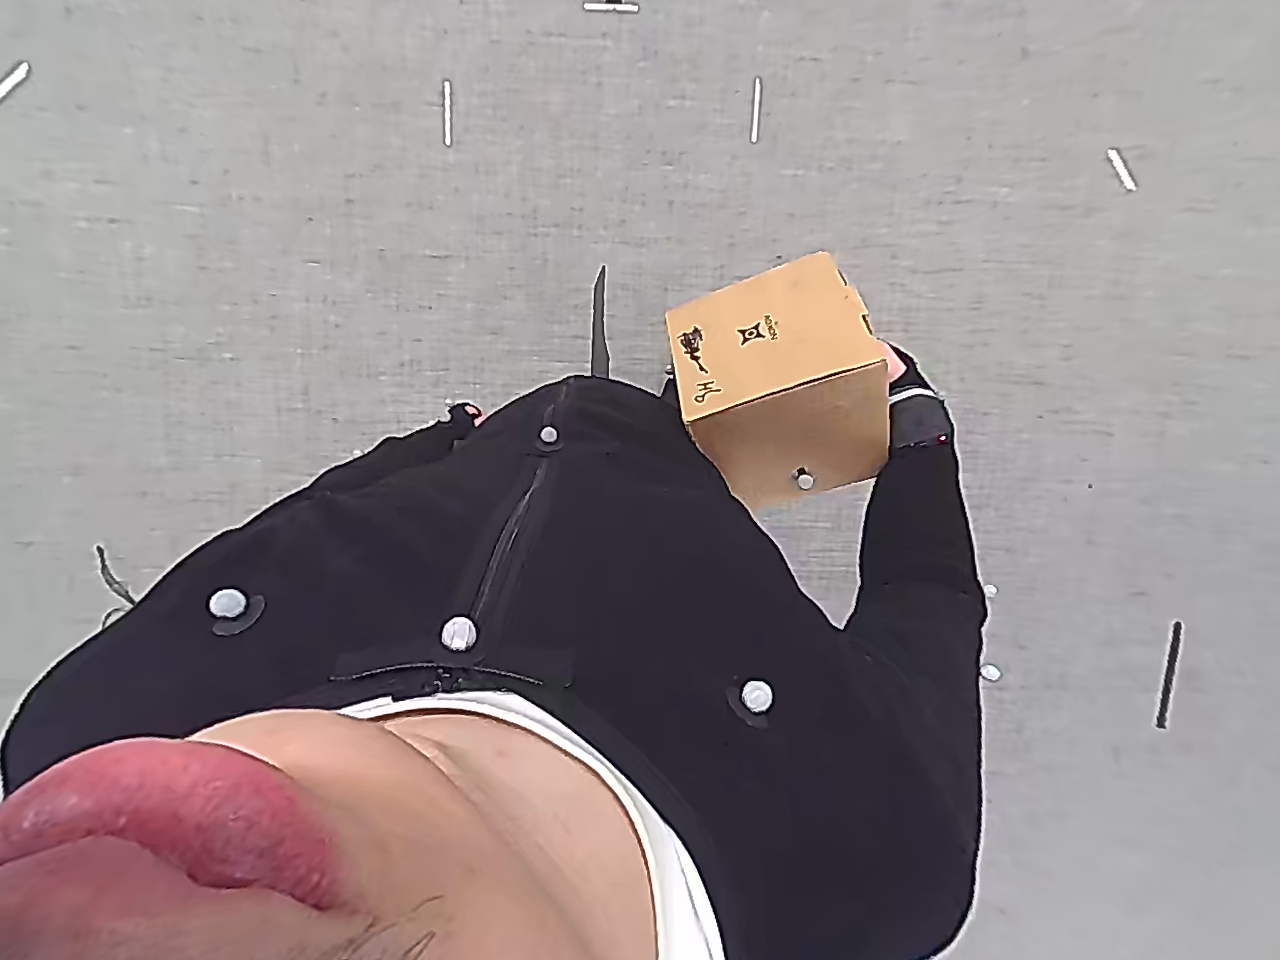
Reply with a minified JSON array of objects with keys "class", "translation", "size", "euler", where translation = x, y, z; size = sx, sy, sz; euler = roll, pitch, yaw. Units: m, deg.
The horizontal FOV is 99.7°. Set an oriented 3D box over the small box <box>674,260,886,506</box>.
[{"class":"small box","translation":[0.150,-0.096,0.586],"size":[0.179,0.168,0.176],"euler":[-16,141,14]}]
